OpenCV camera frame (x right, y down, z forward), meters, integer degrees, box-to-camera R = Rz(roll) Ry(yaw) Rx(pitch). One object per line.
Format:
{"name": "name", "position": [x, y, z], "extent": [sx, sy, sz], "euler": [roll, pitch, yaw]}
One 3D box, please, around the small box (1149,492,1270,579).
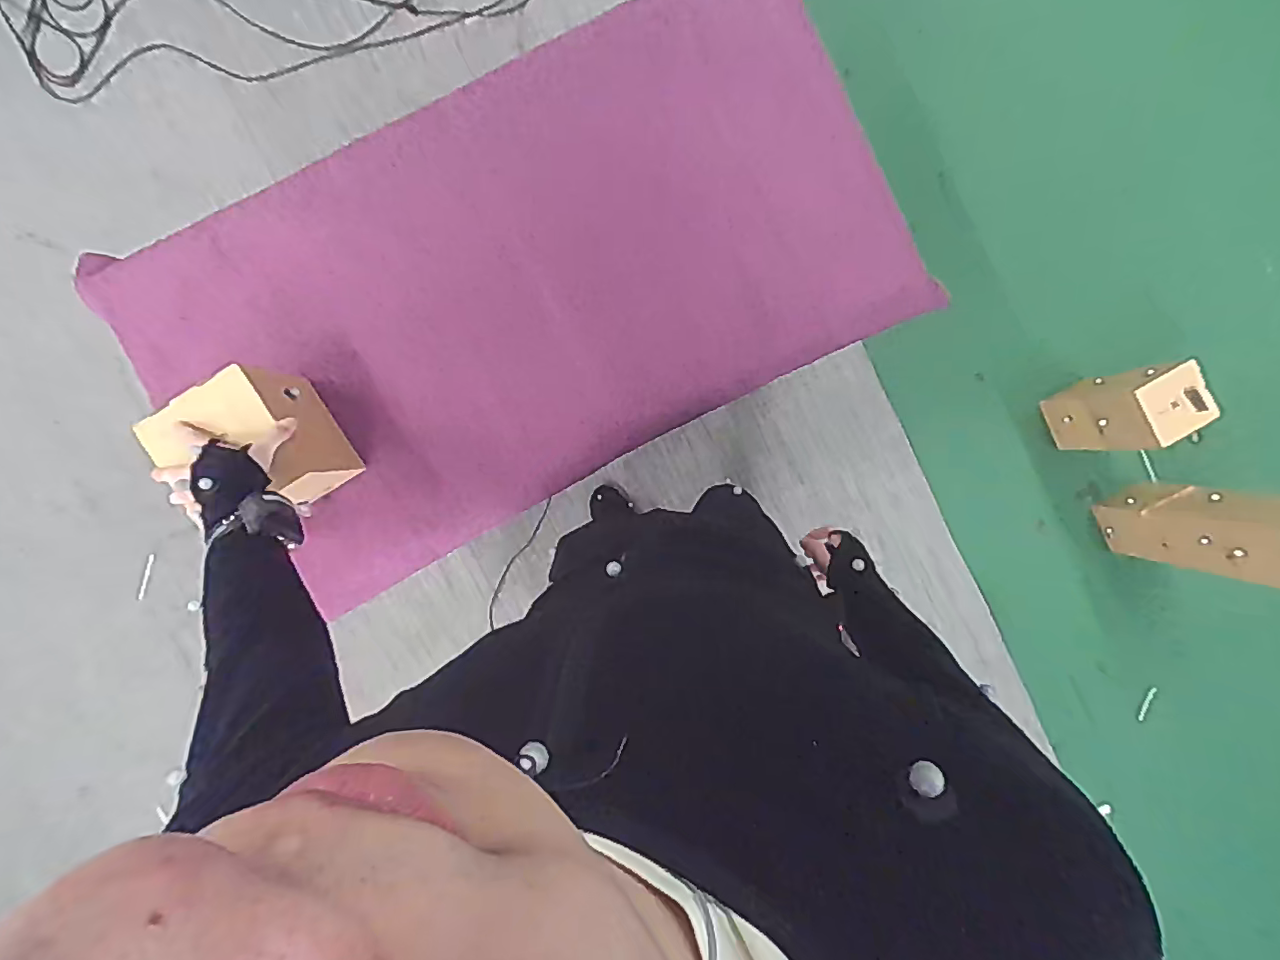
{"name": "small box", "position": [1.537, 0.140, 1.447], "extent": [0.179, 0.176, 0.168], "euler": [-23, 94, -1]}

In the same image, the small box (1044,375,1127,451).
{"name": "small box", "position": [1.337, -0.189, 1.588], "extent": [0.179, 0.176, 0.168], "euler": [-26, 93, -1]}

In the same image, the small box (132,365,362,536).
{"name": "small box", "position": [-0.555, -0.042, 0.791], "extent": [0.168, 0.176, 0.179], "euler": [-32, 94, 0]}

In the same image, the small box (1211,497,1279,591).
{"name": "small box", "position": [1.539, 0.149, 1.282], "extent": [0.179, 0.176, 0.168], "euler": [-23, 94, 0]}

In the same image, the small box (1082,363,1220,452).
{"name": "small box", "position": [1.333, -0.186, 1.423], "extent": [0.179, 0.176, 0.168], "euler": [-29, 93, 0]}
